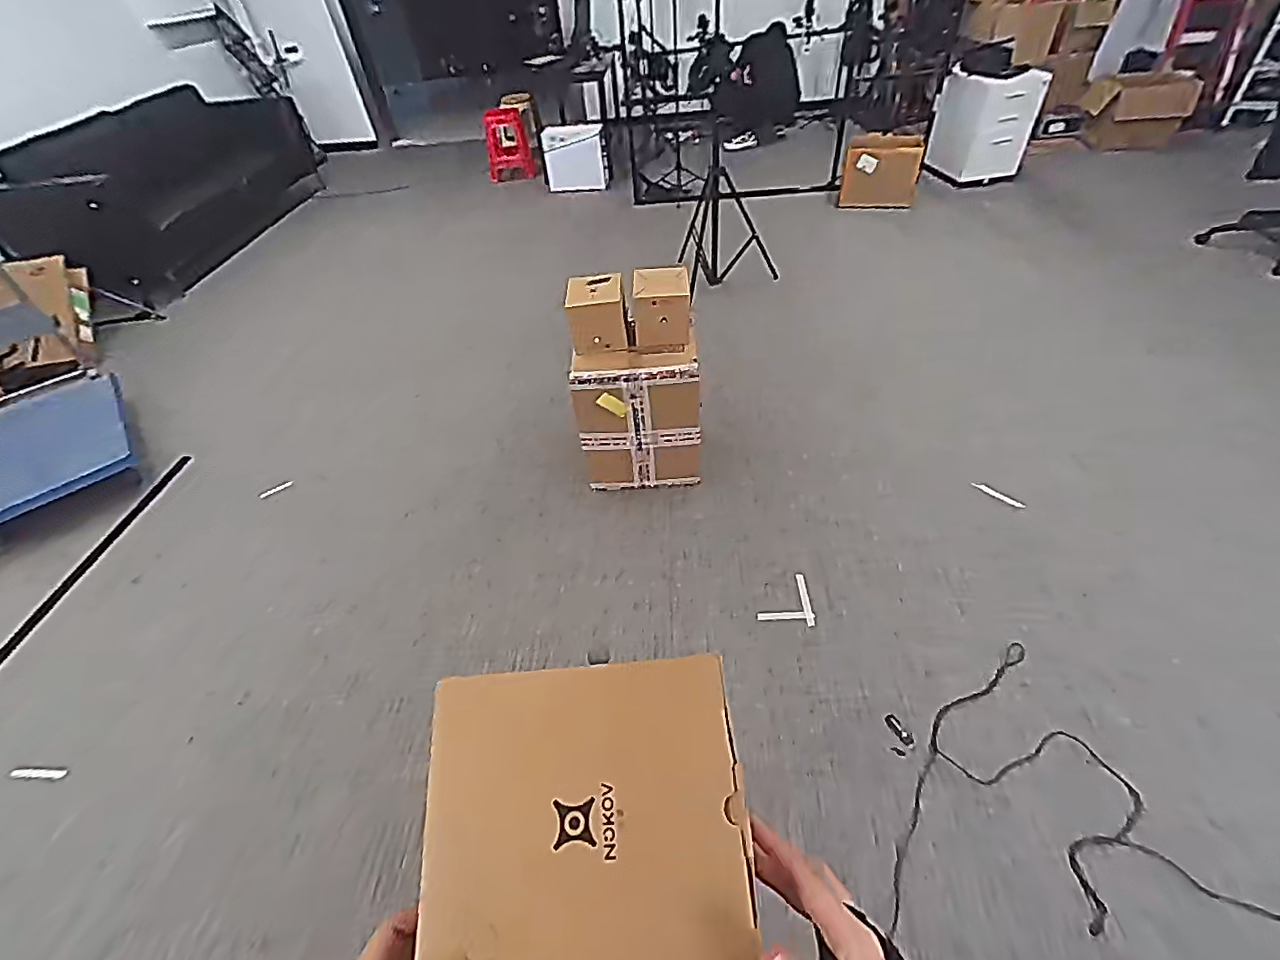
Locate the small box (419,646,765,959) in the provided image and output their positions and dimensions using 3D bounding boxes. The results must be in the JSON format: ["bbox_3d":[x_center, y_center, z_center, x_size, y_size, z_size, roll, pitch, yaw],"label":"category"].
[{"bbox_3d":[-0.025,0.217,0.368,0.179,0.176,0.168,-5,64,0],"label":"small box"}]

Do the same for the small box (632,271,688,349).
[{"bbox_3d":[0.060,-0.529,1.679,0.168,0.176,0.179,-2,47,1],"label":"small box"}]

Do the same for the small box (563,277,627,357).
[{"bbox_3d":[-0.135,-0.506,1.684,0.168,0.176,0.179,-6,47,5],"label":"small box"}]
